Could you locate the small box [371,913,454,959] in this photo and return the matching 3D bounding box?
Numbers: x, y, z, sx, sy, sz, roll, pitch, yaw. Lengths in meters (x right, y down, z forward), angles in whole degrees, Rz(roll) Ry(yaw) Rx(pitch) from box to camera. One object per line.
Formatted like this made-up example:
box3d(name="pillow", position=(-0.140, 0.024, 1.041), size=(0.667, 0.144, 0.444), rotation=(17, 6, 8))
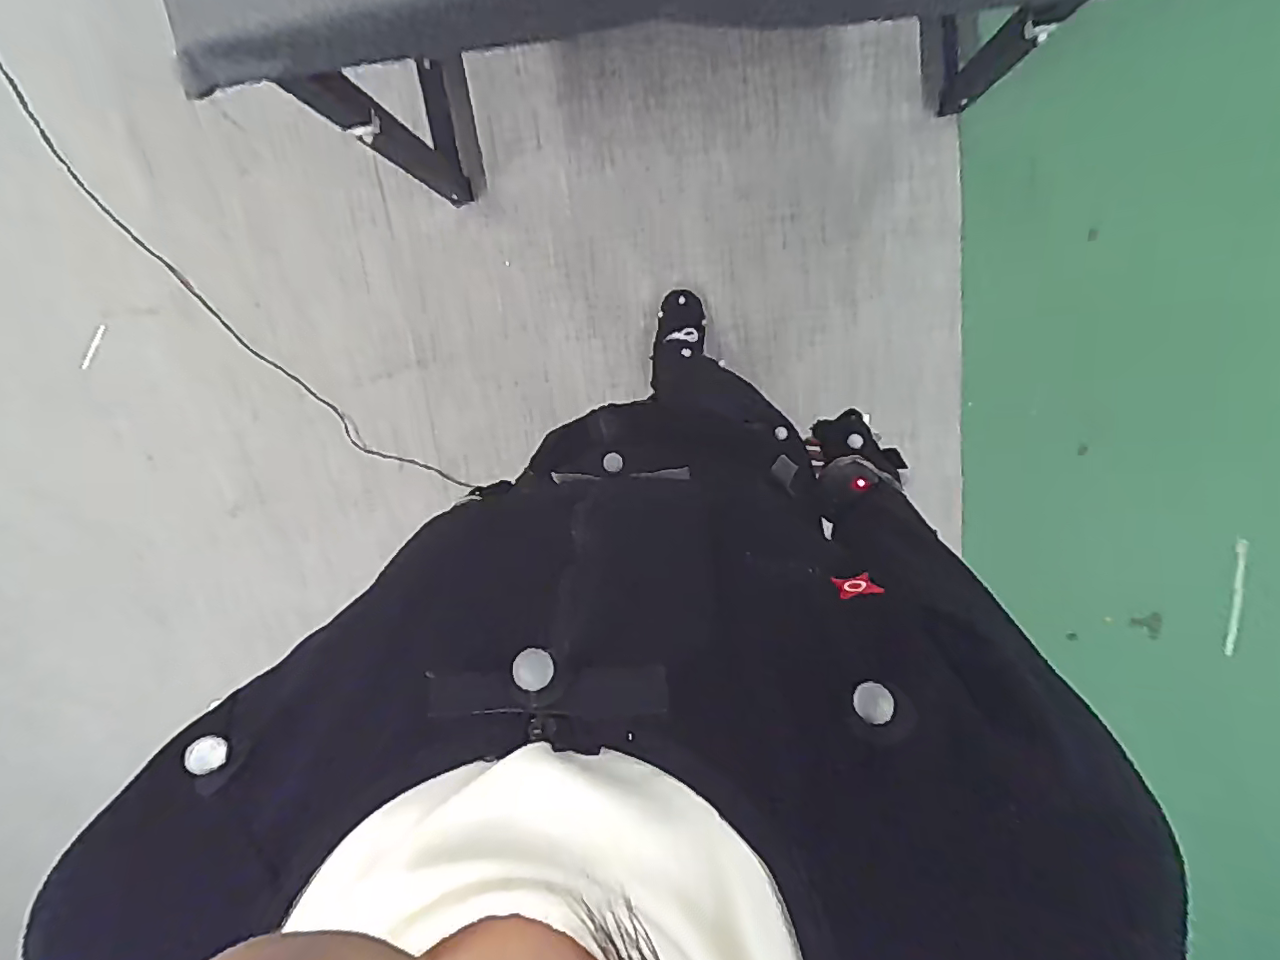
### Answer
box3d(name="small box", position=(-0.600, 1.249, 1.360), size=(0.179, 0.176, 0.168), rotation=(27, 104, -1))
